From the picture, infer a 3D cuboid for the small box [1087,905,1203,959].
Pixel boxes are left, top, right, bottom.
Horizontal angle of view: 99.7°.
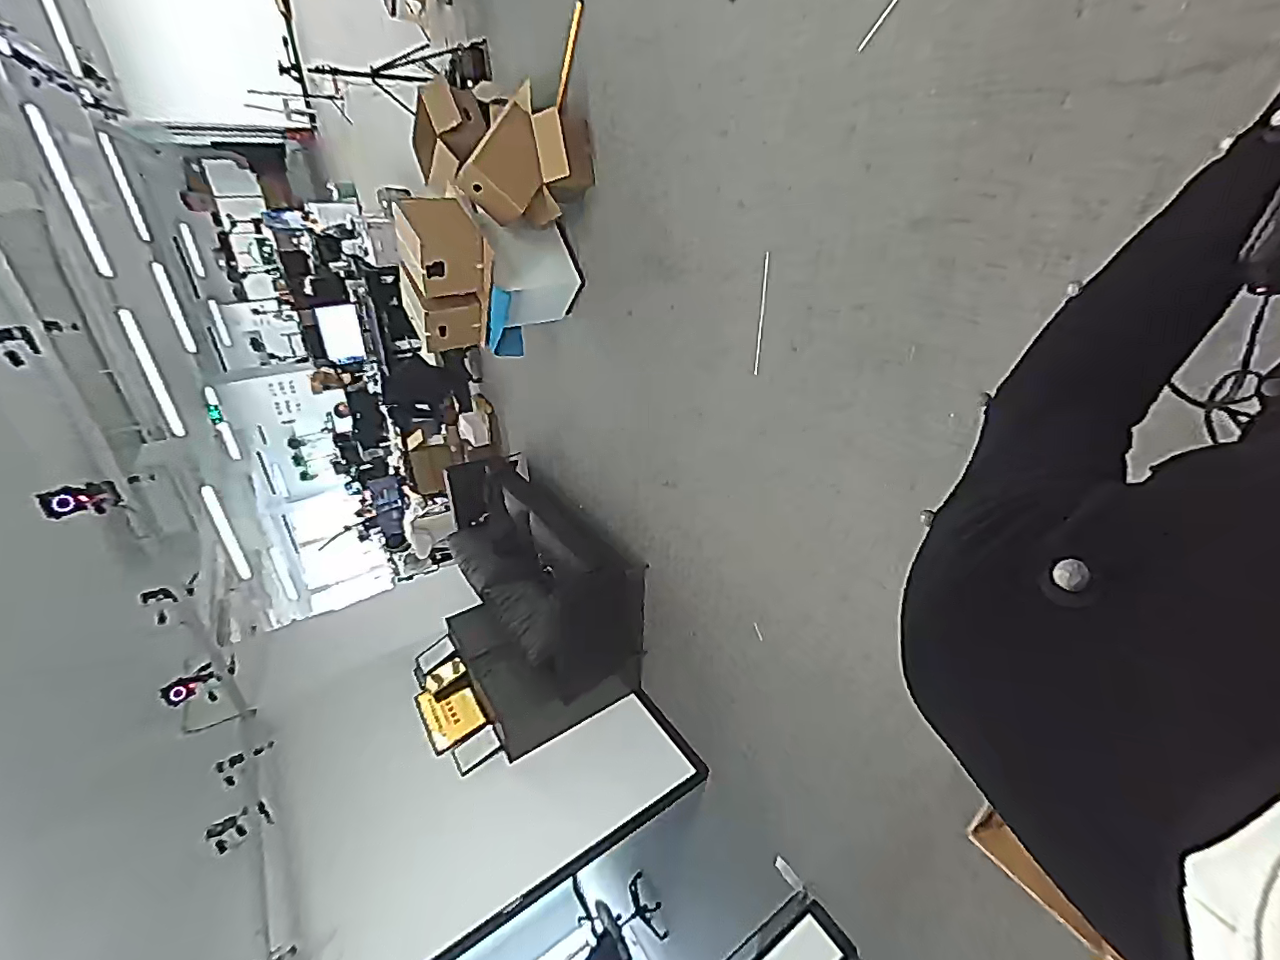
[{"bbox_3d":[1.253,1.225,1.346,0.168,0.176,0.179,34,135,46],"label":"small box"}]
